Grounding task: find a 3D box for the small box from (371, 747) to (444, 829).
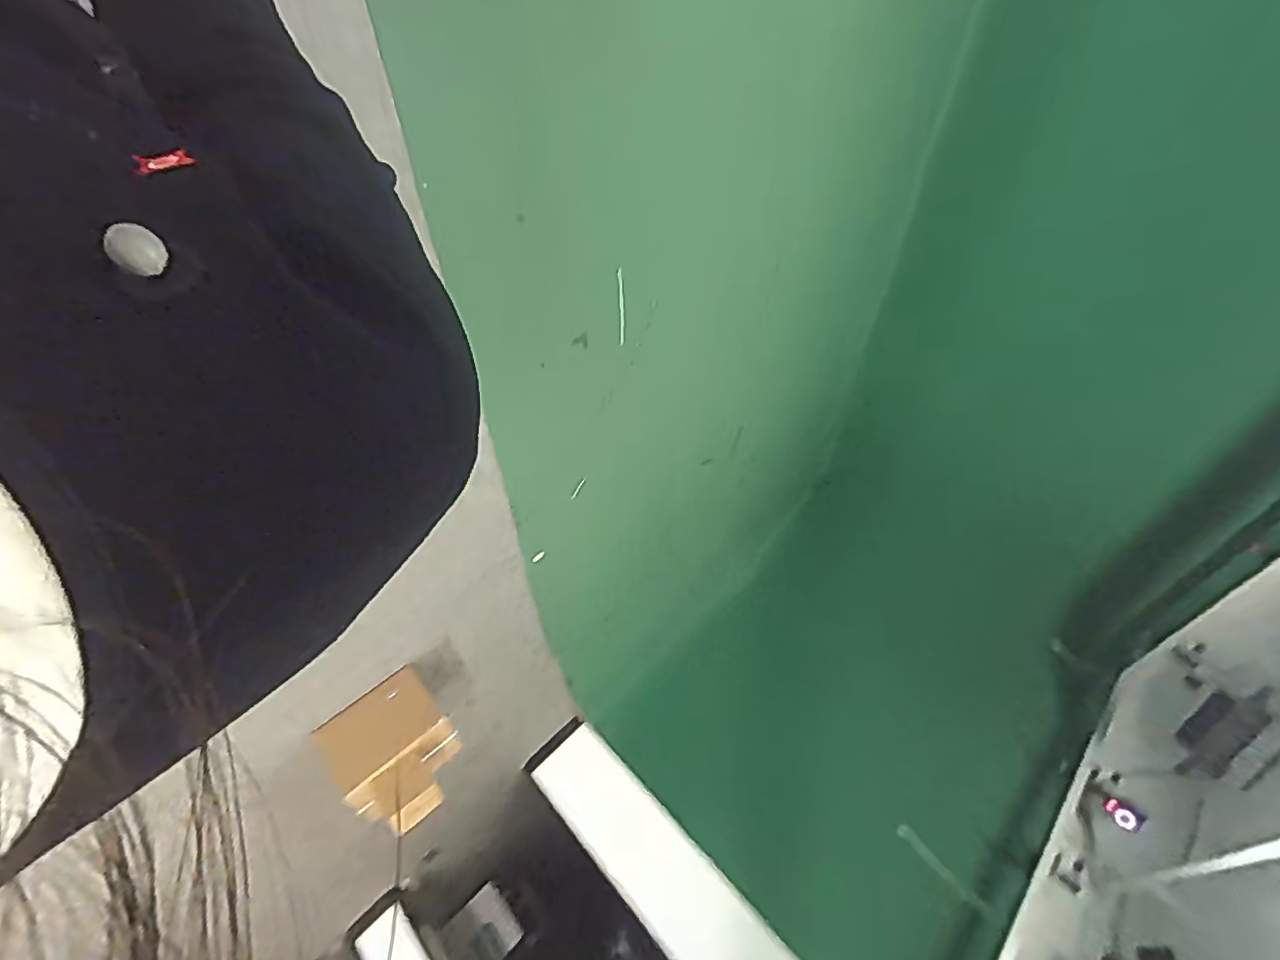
[{"bbox_3d":[-0.865,1.138,2.011,0.179,0.176,0.168,-31,140,-33],"label":"small box"}]
